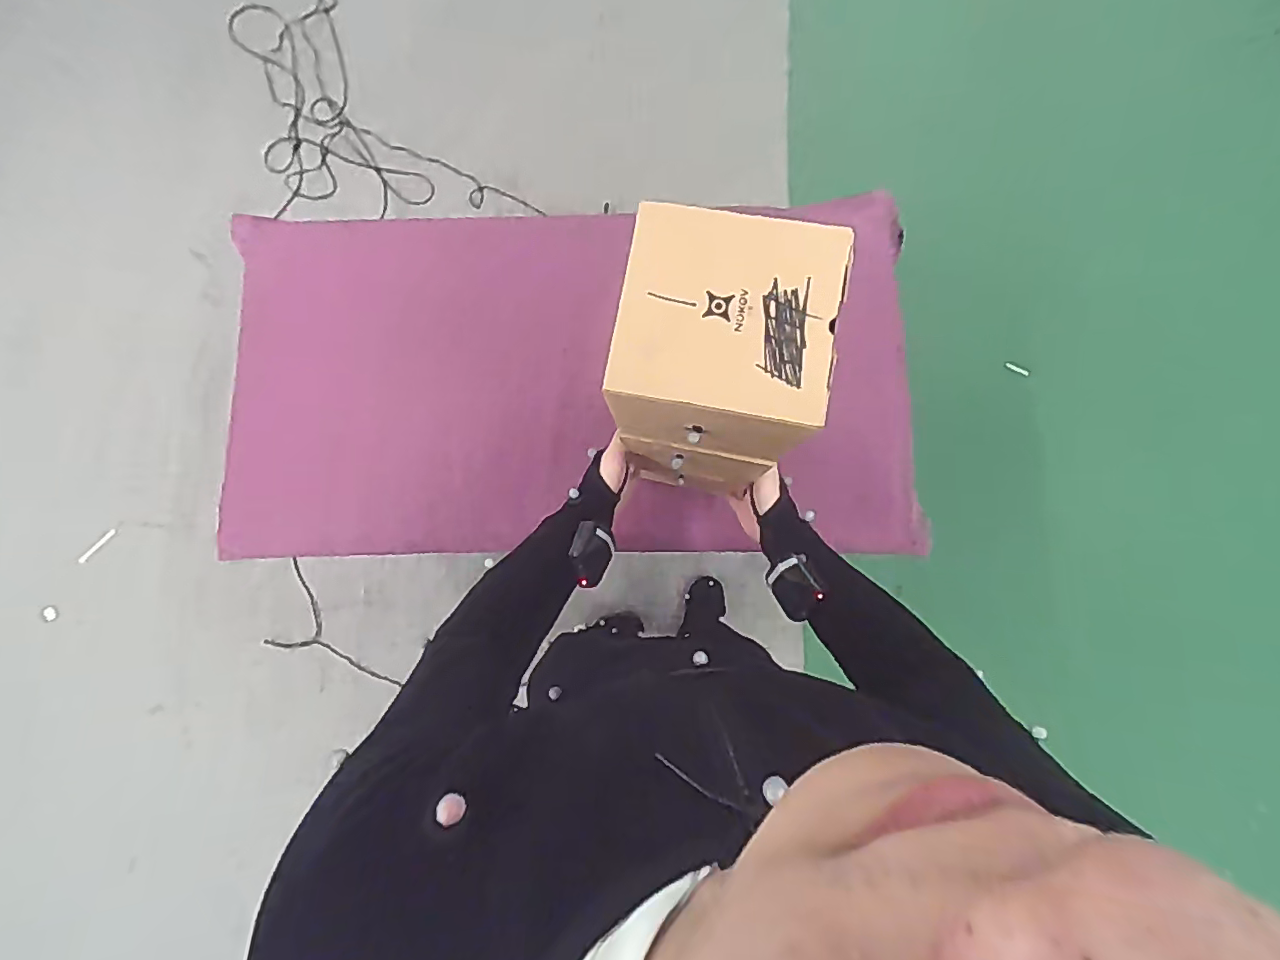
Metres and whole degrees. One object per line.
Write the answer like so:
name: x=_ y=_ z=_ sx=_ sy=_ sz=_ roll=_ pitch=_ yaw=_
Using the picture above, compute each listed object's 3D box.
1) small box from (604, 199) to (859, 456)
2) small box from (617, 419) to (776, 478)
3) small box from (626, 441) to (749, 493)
small box: x=0.076 y=-0.123 z=0.503 sx=0.179 sy=0.176 sz=0.168 roll=11 pitch=84 yaw=5
small box: x=0.082 y=-0.103 z=0.667 sx=0.179 sy=0.176 sz=0.168 roll=12 pitch=85 yaw=5
small box: x=0.087 y=-0.082 z=0.829 sx=0.179 sy=0.176 sz=0.168 roll=14 pitch=84 yaw=4
